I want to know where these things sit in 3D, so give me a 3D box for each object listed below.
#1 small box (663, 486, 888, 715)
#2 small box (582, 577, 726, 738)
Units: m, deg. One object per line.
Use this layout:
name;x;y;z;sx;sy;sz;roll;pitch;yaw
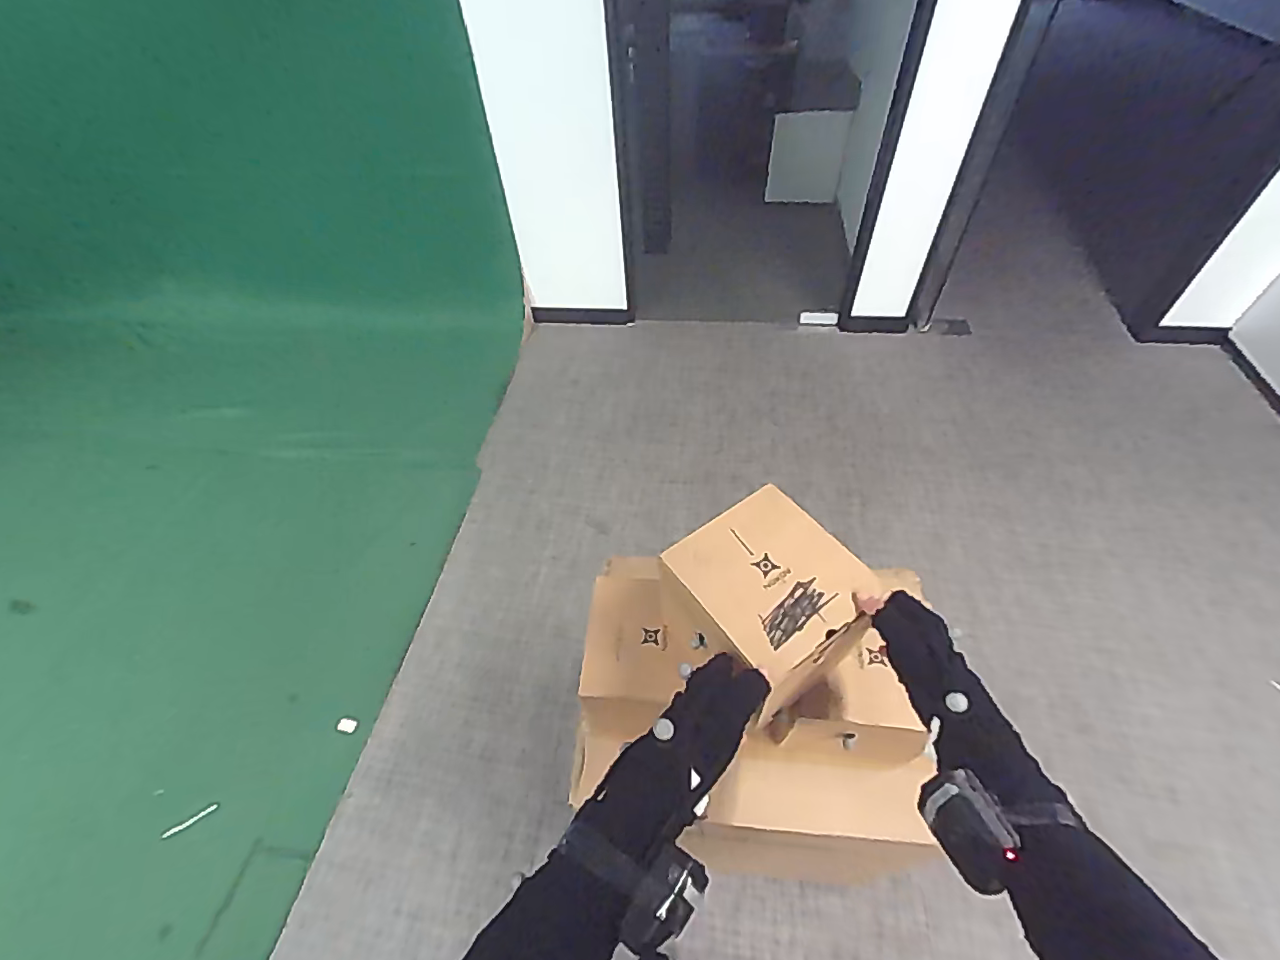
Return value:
small box;0.144;0.147;0.629;0.168;0.176;0.179;-30;55;-19
small box;0.027;0.253;0.763;0.179;0.176;0.168;1;50;6
